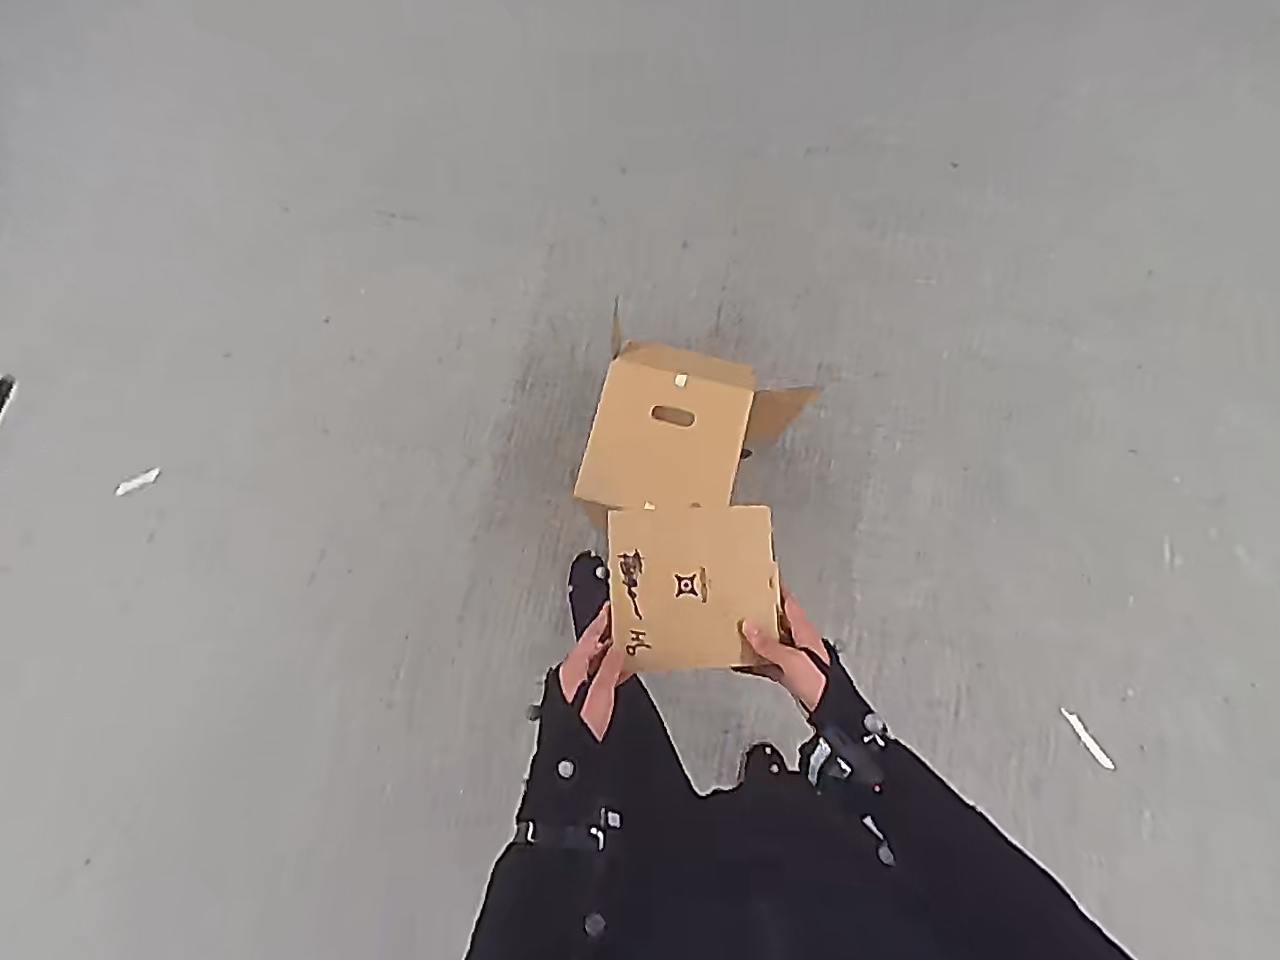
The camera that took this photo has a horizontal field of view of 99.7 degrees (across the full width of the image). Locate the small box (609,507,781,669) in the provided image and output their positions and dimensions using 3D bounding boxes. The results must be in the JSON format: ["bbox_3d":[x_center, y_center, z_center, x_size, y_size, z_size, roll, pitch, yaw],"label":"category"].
[{"bbox_3d":[0.052,0.122,0.637,0.179,0.176,0.168,-1,80,-3],"label":"small box"}]
